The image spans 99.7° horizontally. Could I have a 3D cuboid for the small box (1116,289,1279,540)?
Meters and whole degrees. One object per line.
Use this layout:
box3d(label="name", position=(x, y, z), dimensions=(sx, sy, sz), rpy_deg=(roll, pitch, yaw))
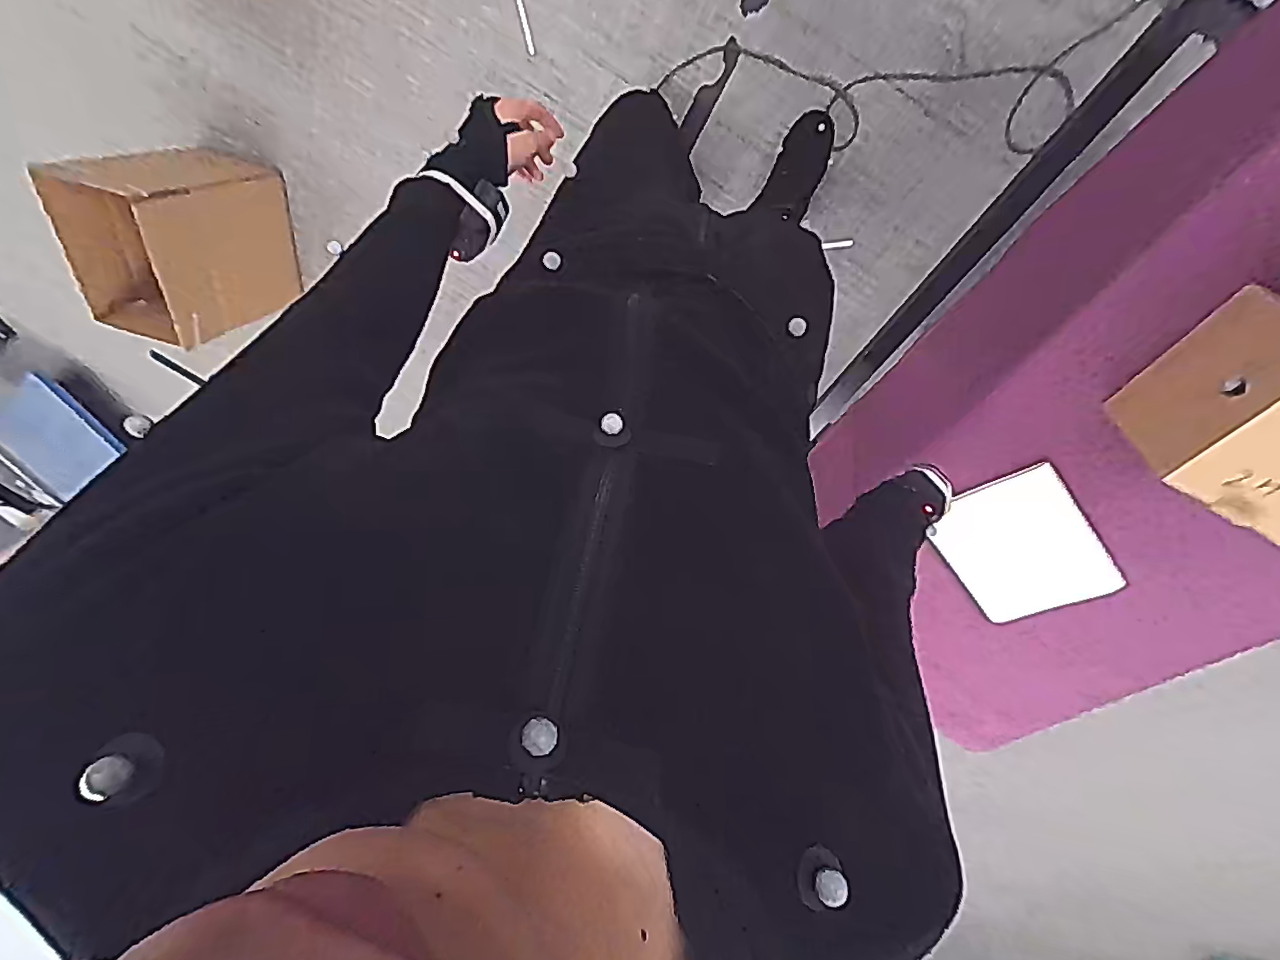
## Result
box3d(label="small box", position=(0.669, -0.070, 0.568), dimensions=(0.168, 0.176, 0.179), rpy_deg=(28, 130, -1))
